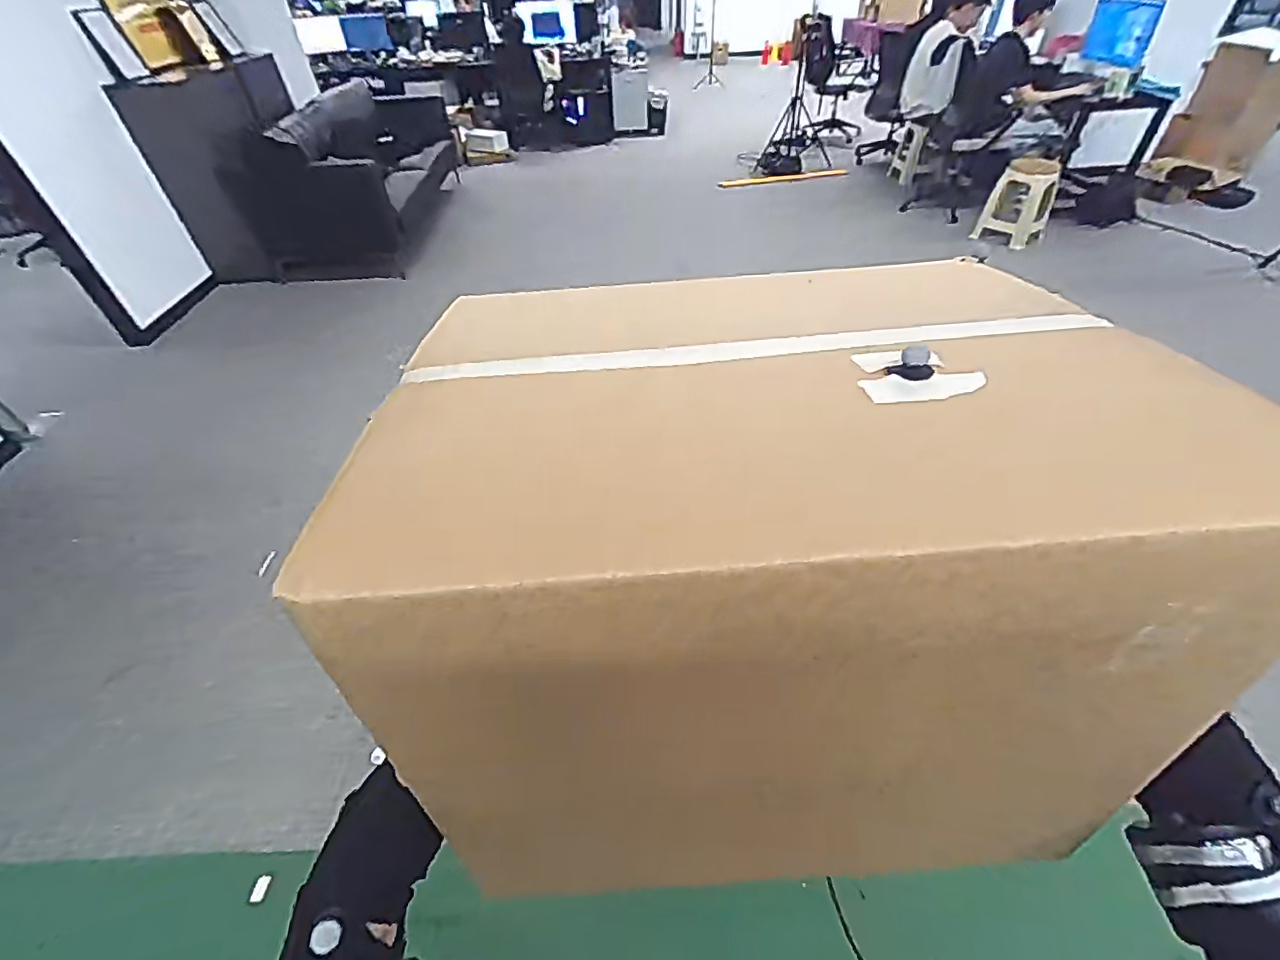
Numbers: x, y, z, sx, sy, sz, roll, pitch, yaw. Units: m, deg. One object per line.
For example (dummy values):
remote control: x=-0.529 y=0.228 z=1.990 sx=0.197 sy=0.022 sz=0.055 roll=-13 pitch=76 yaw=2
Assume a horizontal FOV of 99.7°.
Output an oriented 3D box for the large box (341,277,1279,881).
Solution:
large box: x=0.083 y=0.056 z=0.408 sx=0.408 sy=0.320 sz=0.320 roll=-3 pitch=37 yaw=0
